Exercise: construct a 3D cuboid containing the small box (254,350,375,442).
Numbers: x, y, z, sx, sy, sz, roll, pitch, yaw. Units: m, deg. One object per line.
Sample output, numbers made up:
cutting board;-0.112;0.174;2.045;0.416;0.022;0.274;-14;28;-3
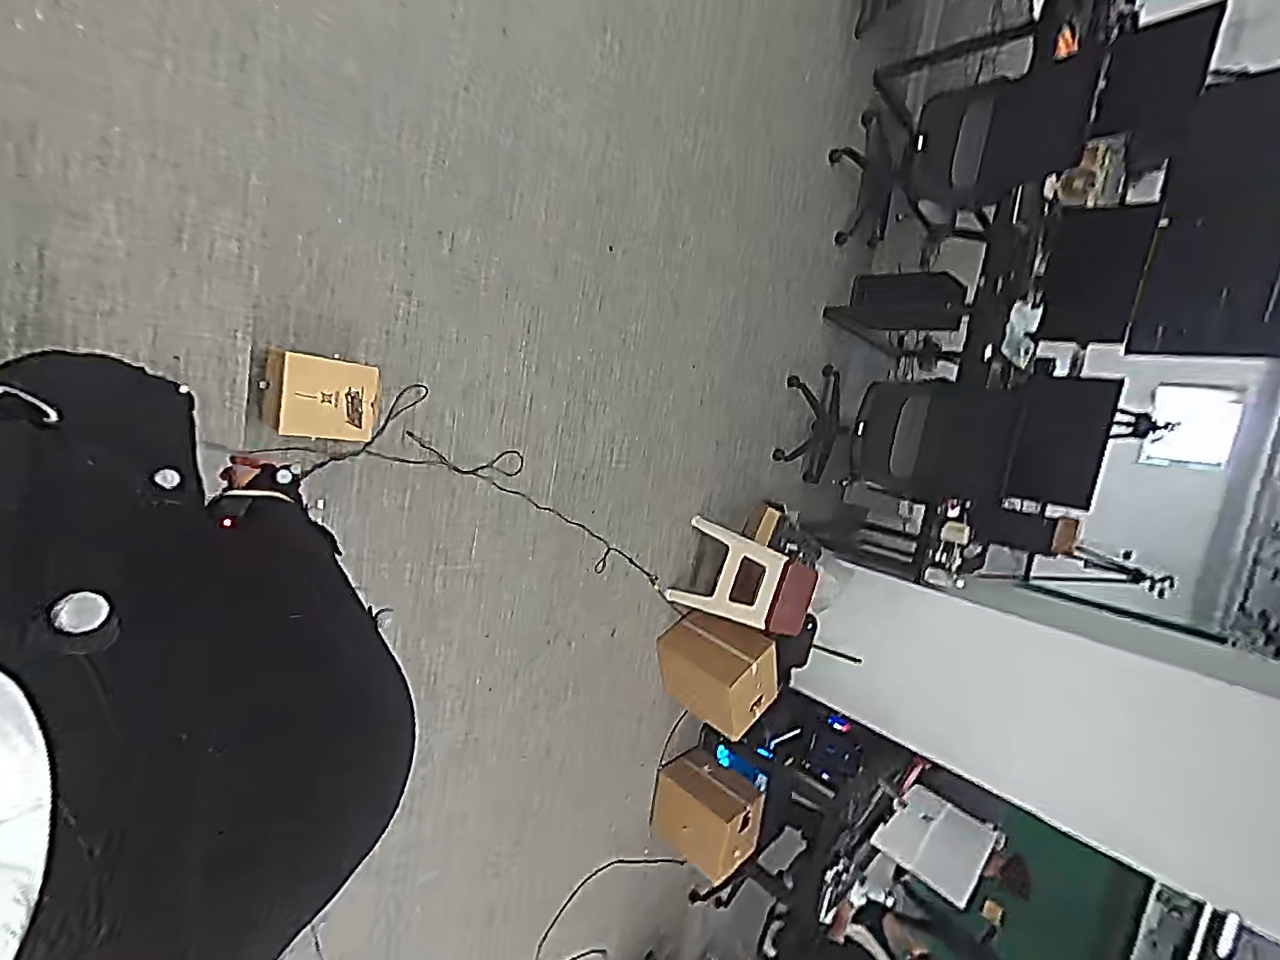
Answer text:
small box;-0.700;-0.182;1.161;0.179;0.176;0.168;4;98;-46
